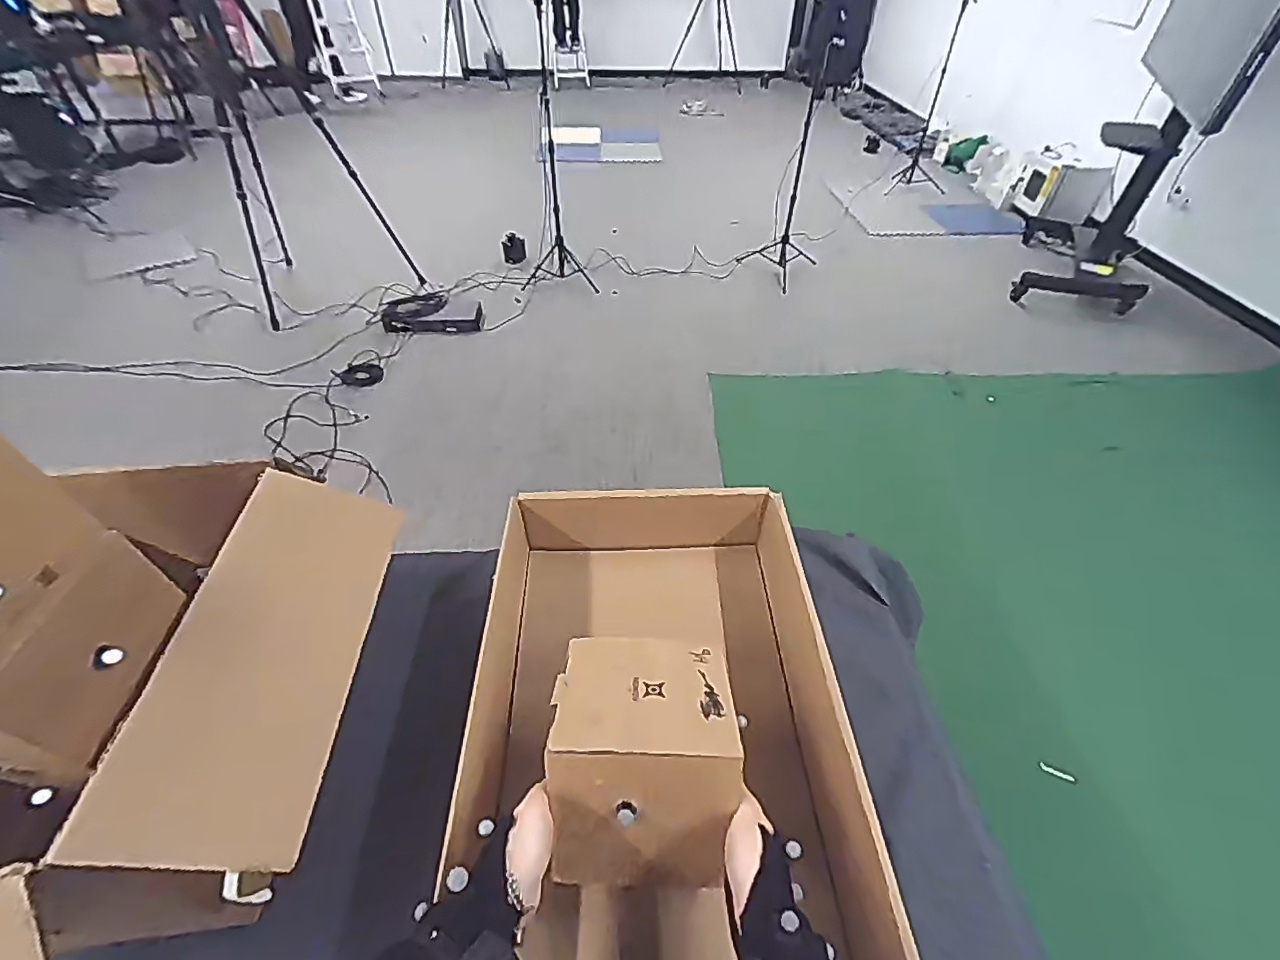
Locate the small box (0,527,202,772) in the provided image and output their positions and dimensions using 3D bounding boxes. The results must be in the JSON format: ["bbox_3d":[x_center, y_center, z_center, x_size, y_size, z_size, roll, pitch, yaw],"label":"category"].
[{"bbox_3d":[-0.580,0.161,0.522,0.168,0.176,0.179,1,48,-1],"label":"small box"}]

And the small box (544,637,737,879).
[{"bbox_3d":[0.002,0.289,0.579,0.179,0.176,0.168,2,21,1],"label":"small box"}]
